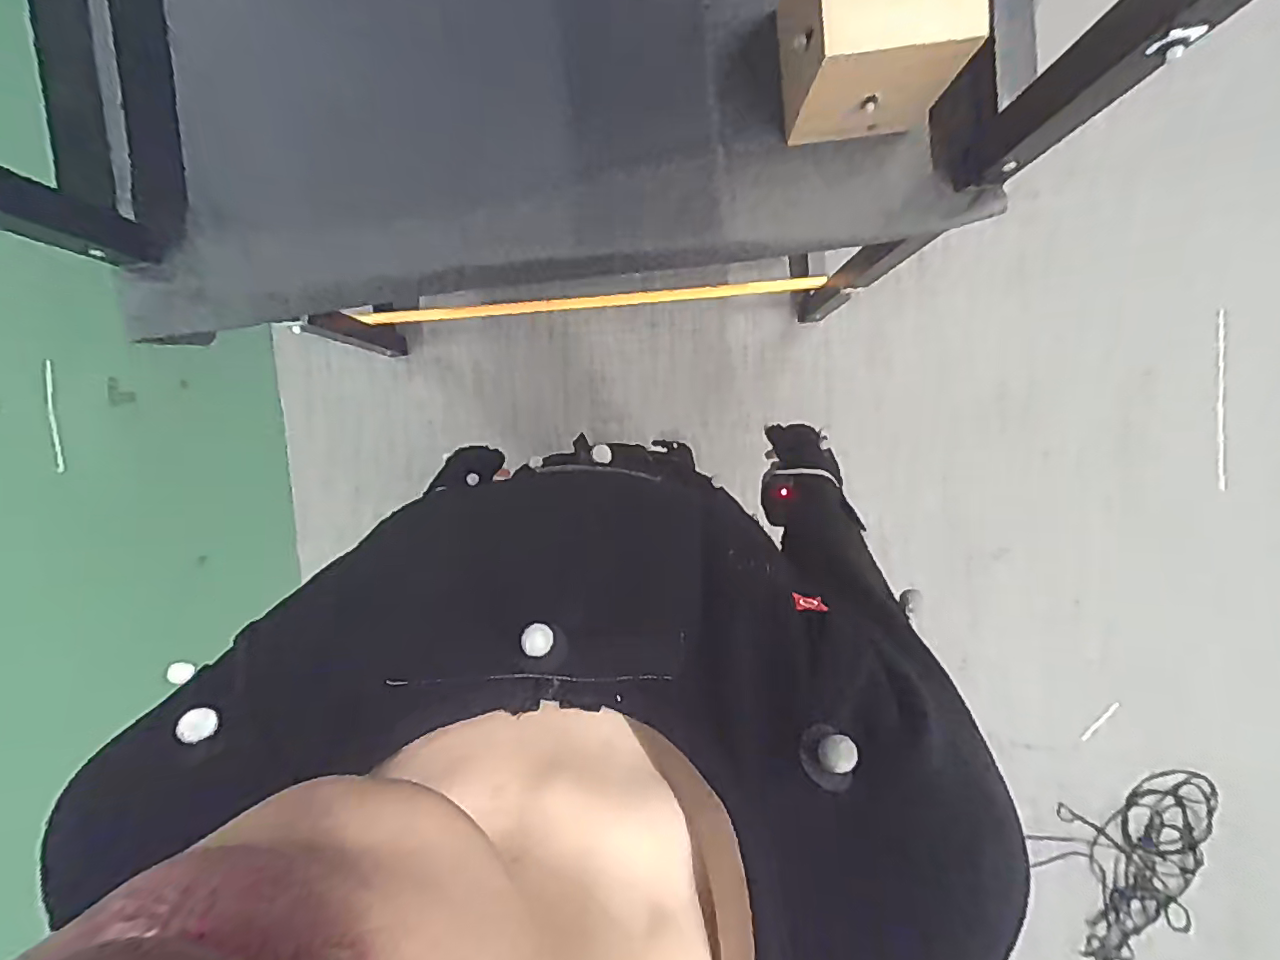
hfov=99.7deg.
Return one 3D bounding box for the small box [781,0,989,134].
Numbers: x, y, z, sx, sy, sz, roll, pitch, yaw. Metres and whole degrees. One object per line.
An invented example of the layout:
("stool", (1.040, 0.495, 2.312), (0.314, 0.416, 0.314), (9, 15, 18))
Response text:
("small box", (0.266, -0.530, 0.621), (0.168, 0.176, 0.179), (-6, 94, 2))
